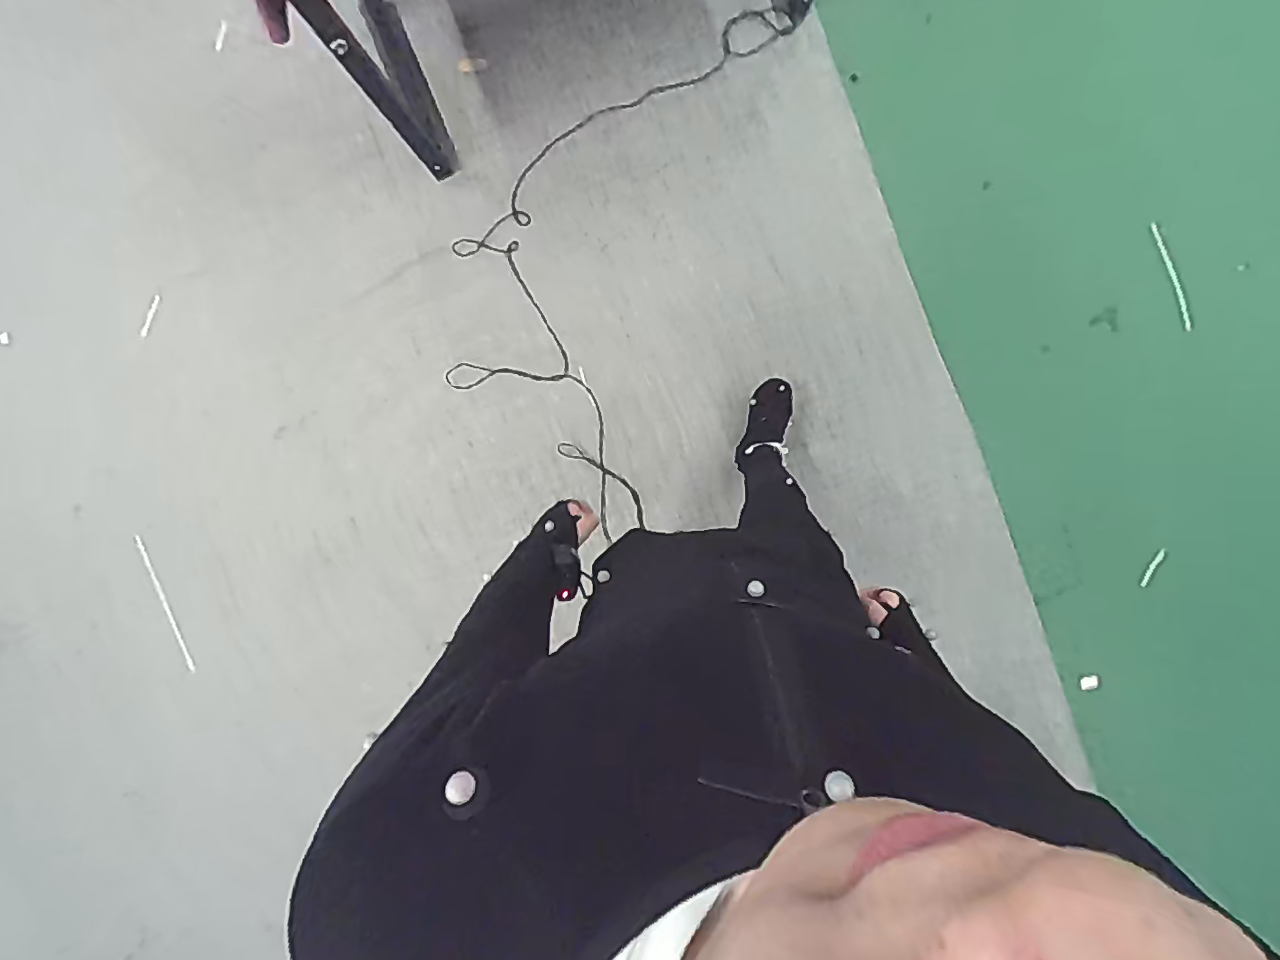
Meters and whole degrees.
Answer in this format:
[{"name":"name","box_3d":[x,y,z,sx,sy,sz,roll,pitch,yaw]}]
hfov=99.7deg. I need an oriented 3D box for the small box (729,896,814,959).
[{"name":"small box","box_3d":[0.289,1.047,1.162,0.168,0.176,0.179,-9,91,5]}]
